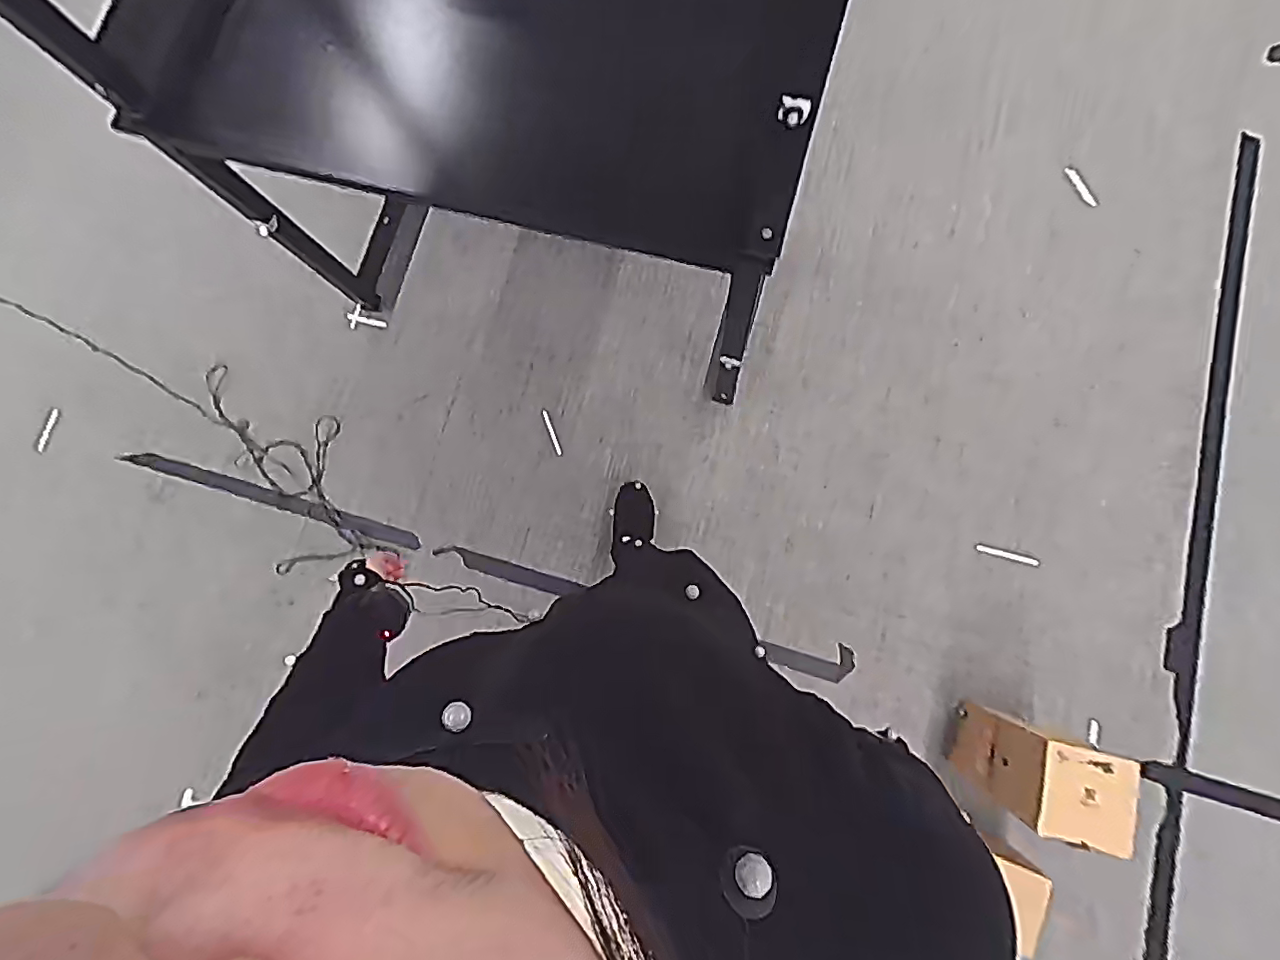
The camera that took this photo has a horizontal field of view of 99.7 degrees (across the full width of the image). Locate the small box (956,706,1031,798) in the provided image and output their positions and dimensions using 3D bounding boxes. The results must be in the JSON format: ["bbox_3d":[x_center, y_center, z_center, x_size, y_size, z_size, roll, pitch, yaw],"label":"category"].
[{"bbox_3d":[0.869,0.643,1.252,0.179,0.176,0.168,17,83,7],"label":"small box"}]

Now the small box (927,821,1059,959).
[{"bbox_3d":[0.783,0.910,1.220,0.179,0.176,0.168,20,84,8],"label":"small box"}]

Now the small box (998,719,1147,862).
[{"bbox_3d":[0.858,0.613,1.091,0.168,0.176,0.179,12,83,7],"label":"small box"}]
